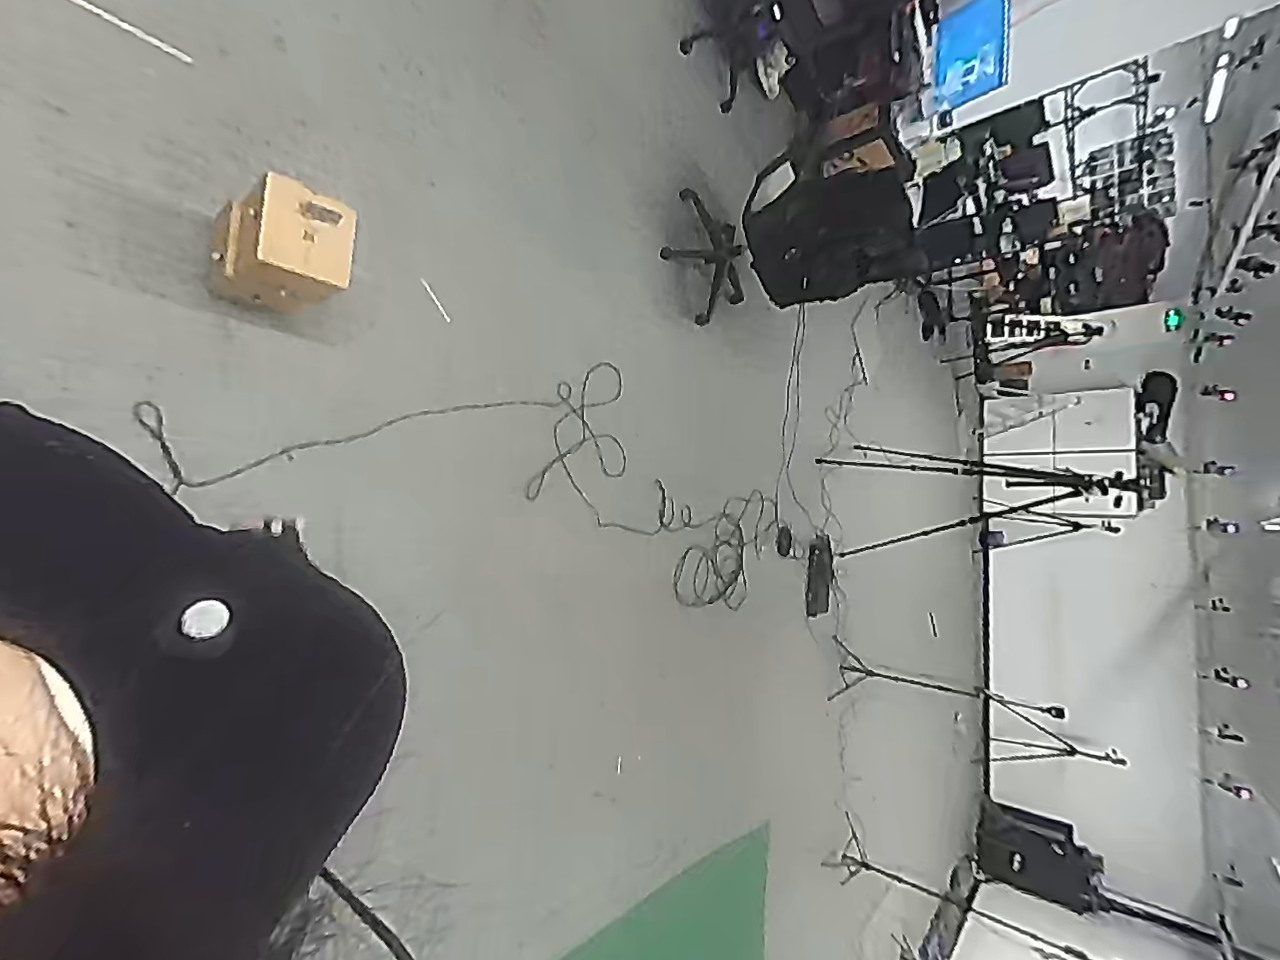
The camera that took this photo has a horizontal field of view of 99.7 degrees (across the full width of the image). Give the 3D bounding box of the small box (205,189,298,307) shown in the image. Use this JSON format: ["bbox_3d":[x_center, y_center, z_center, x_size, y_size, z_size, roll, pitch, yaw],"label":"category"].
[{"bbox_3d":[-0.863,-0.510,1.225,0.168,0.176,0.179,7,85,-49],"label":"small box"}]

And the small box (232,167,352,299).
[{"bbox_3d":[-0.729,-0.503,1.130,0.168,0.176,0.179,9,85,-48],"label":"small box"}]
